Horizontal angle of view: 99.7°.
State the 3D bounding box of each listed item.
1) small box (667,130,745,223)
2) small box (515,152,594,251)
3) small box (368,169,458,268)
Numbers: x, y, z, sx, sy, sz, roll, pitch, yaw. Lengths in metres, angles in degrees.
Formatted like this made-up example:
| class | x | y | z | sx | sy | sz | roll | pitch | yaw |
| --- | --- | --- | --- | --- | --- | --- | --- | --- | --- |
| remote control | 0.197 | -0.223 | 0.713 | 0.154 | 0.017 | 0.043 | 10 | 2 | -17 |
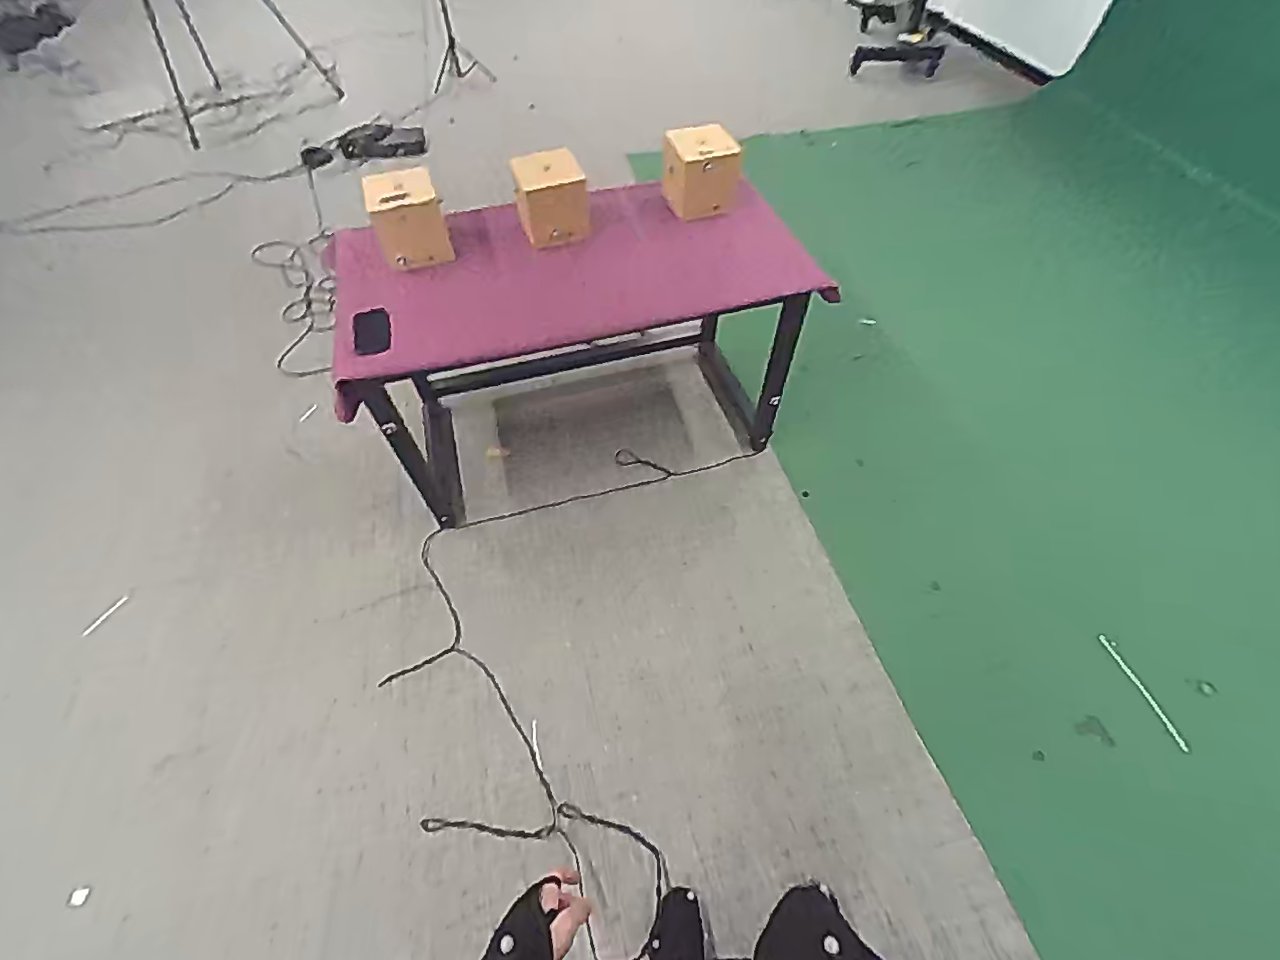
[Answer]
| class | x | y | z | sx | sy | sz | roll | pitch | yaw |
| --- | --- | --- | --- | --- | --- | --- | --- | --- | --- |
| small box | 0.179 | -0.863 | 1.541 | 0.168 | 0.176 | 0.179 | -15 | 56 | -9 |
| small box | -0.230 | -0.754 | 1.469 | 0.168 | 0.176 | 0.179 | -17 | 57 | -10 |
| small box | -0.589 | -0.676 | 1.414 | 0.168 | 0.176 | 0.179 | -16 | 56 | -11 |
